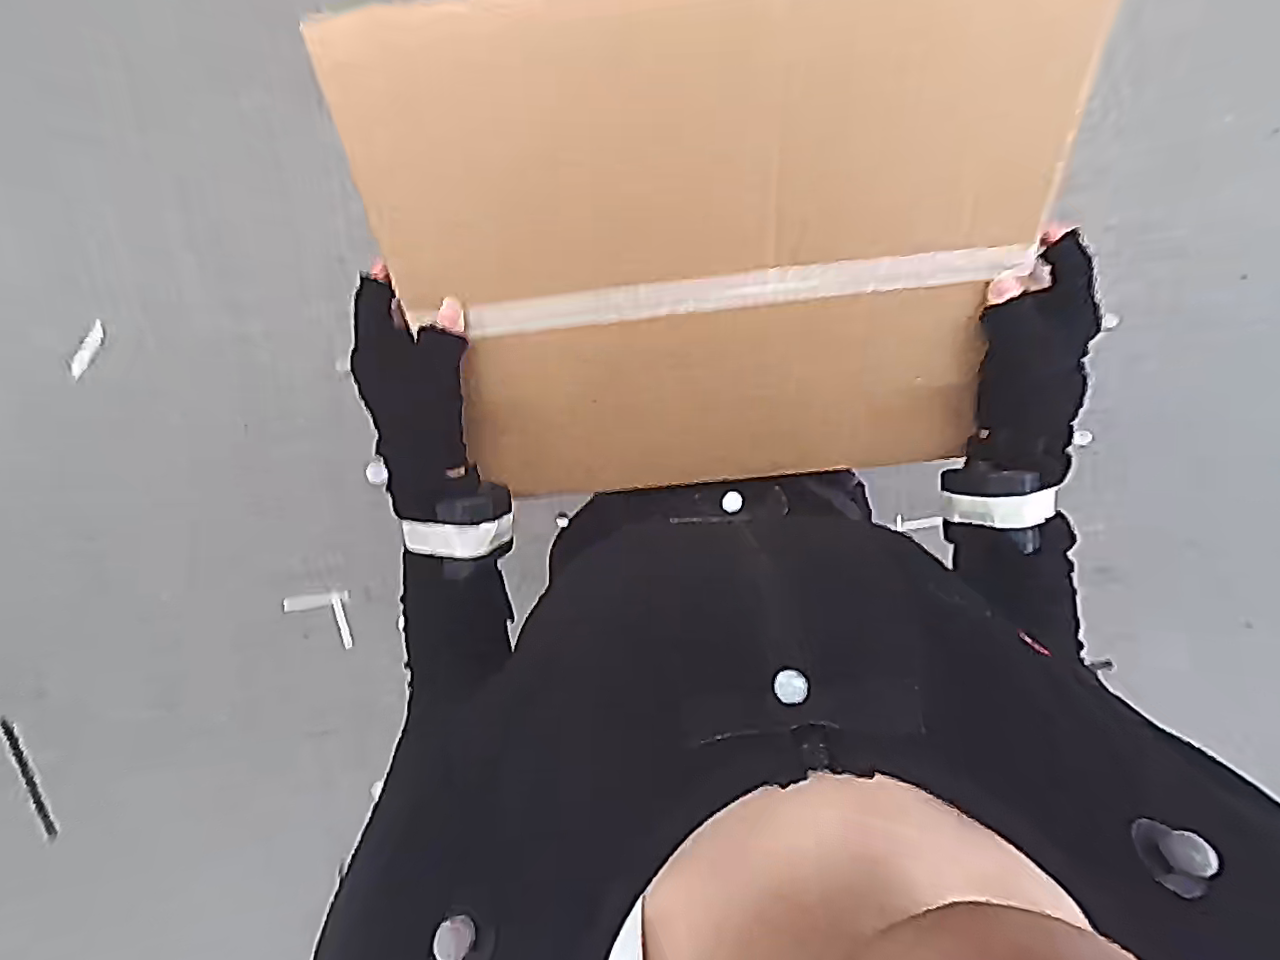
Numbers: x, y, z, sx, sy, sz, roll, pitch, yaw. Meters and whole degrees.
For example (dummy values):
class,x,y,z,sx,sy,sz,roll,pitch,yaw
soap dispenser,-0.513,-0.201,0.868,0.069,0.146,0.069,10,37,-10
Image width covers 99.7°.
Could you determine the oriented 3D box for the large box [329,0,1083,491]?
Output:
class,x,y,z,sx,sy,sz,roll,pitch,yaw
large box,0.041,-0.221,0.482,0.408,0.320,0.320,-6,129,2
